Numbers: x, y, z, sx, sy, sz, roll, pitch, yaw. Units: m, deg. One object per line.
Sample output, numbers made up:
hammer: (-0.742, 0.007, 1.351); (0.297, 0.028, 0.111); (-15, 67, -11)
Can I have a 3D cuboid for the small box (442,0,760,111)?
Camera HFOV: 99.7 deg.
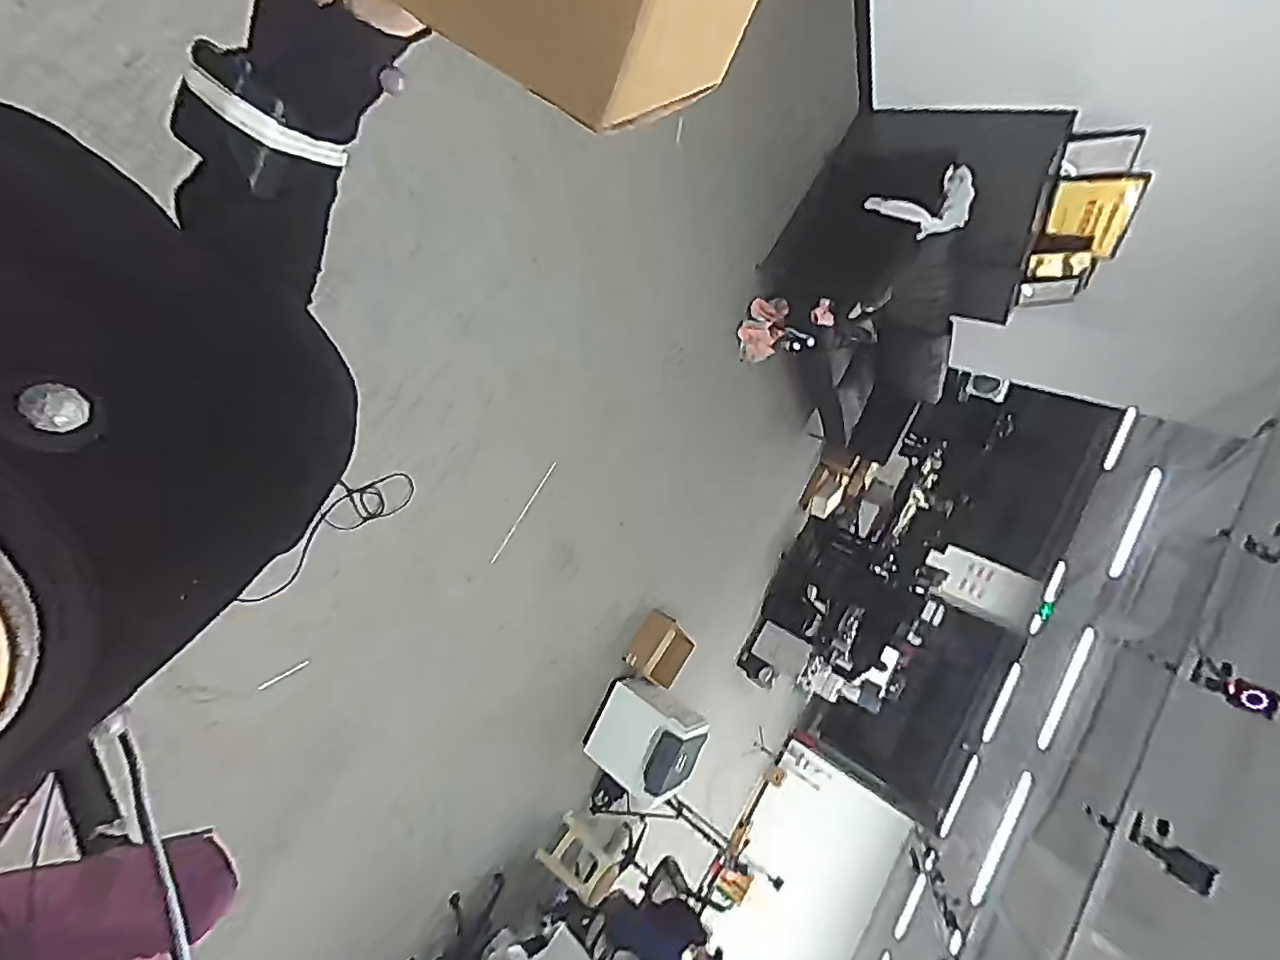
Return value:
small box: (-0.016, -0.262, 0.175); (0.176, 0.168, 0.179); (-56, -175, 45)
